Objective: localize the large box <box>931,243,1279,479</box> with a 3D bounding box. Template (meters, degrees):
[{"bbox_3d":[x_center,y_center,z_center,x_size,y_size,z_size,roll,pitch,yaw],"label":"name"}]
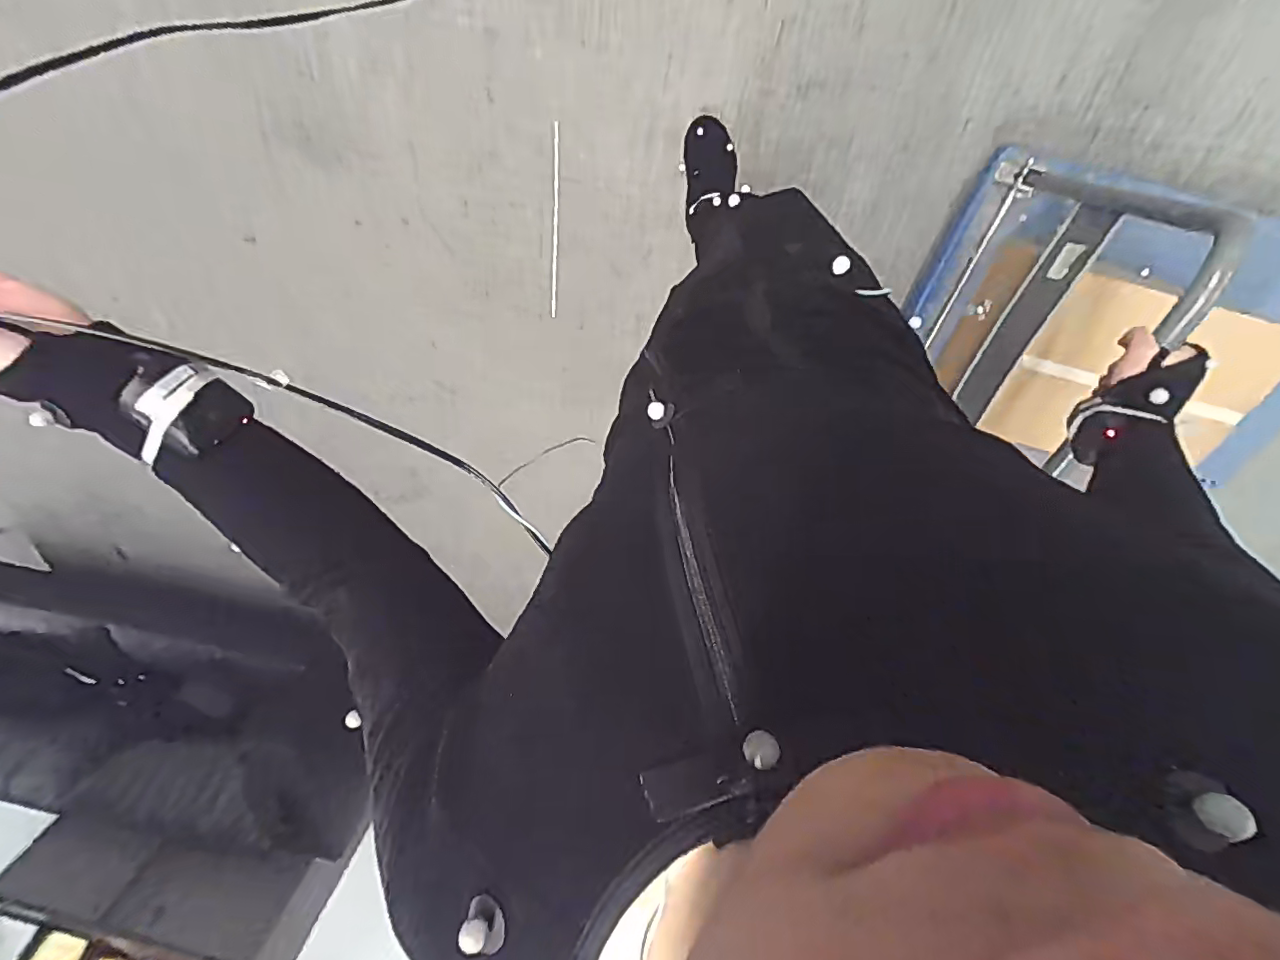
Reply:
[{"bbox_3d":[0.890,-0.253,1.091,0.408,0.320,0.320,16,125,2],"label":"large box"}]
